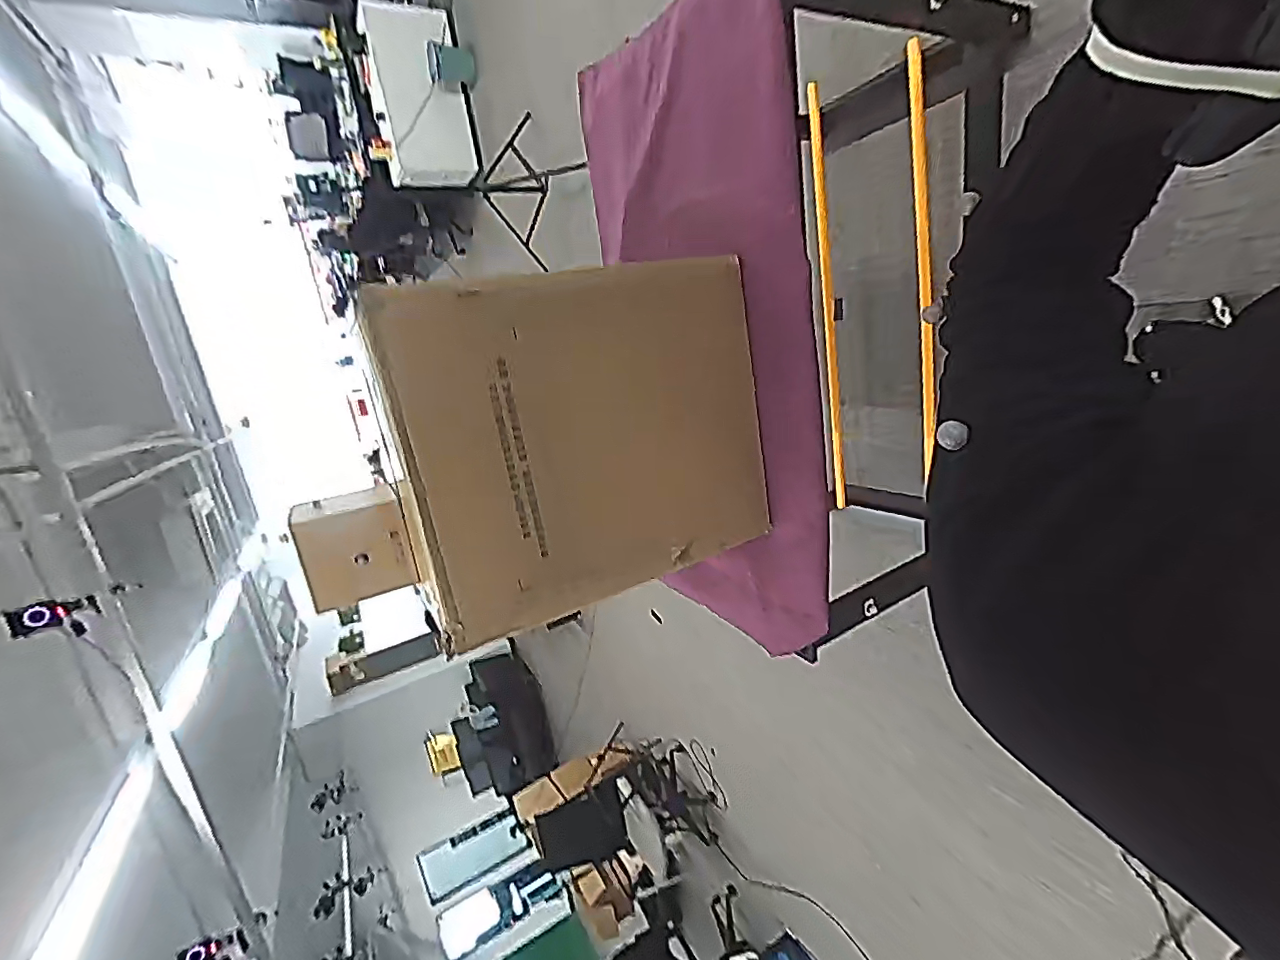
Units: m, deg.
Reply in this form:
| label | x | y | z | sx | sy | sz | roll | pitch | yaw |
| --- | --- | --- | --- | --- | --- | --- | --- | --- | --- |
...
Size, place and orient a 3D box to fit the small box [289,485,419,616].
| label | x | y | z | sx | sy | sz | roll | pitch | yaw |
| --- | --- | --- | --- | --- | --- | --- | --- | --- | --- |
| small box | -0.511 | 0.116 | 0.979 | 0.179 | 0.176 | 0.168 | 19 | 120 | 59 |
